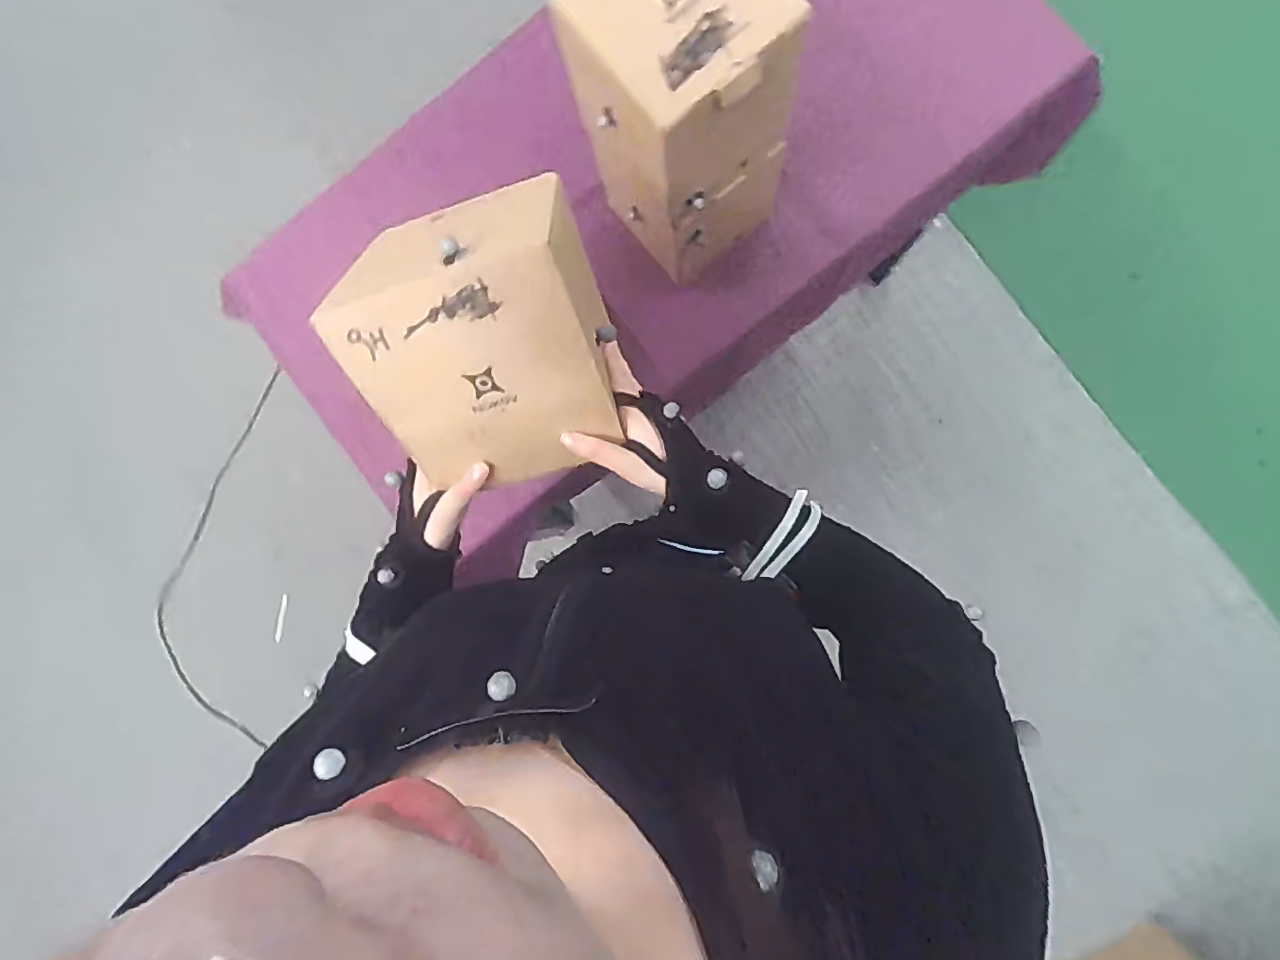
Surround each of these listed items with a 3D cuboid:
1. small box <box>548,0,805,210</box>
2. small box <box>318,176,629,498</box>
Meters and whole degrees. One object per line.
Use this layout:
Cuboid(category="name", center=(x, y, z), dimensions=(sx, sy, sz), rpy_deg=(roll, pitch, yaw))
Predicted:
Cuboid(category="small box", center=(0.039, -0.416, 0.559), dimensions=(0.168, 0.176, 0.179), rpy_deg=(-39, 82, 2))
Cuboid(category="small box", center=(-0.112, -0.117, 0.449), dimensions=(0.168, 0.179, 0.176), rpy_deg=(-15, 42, 7))
